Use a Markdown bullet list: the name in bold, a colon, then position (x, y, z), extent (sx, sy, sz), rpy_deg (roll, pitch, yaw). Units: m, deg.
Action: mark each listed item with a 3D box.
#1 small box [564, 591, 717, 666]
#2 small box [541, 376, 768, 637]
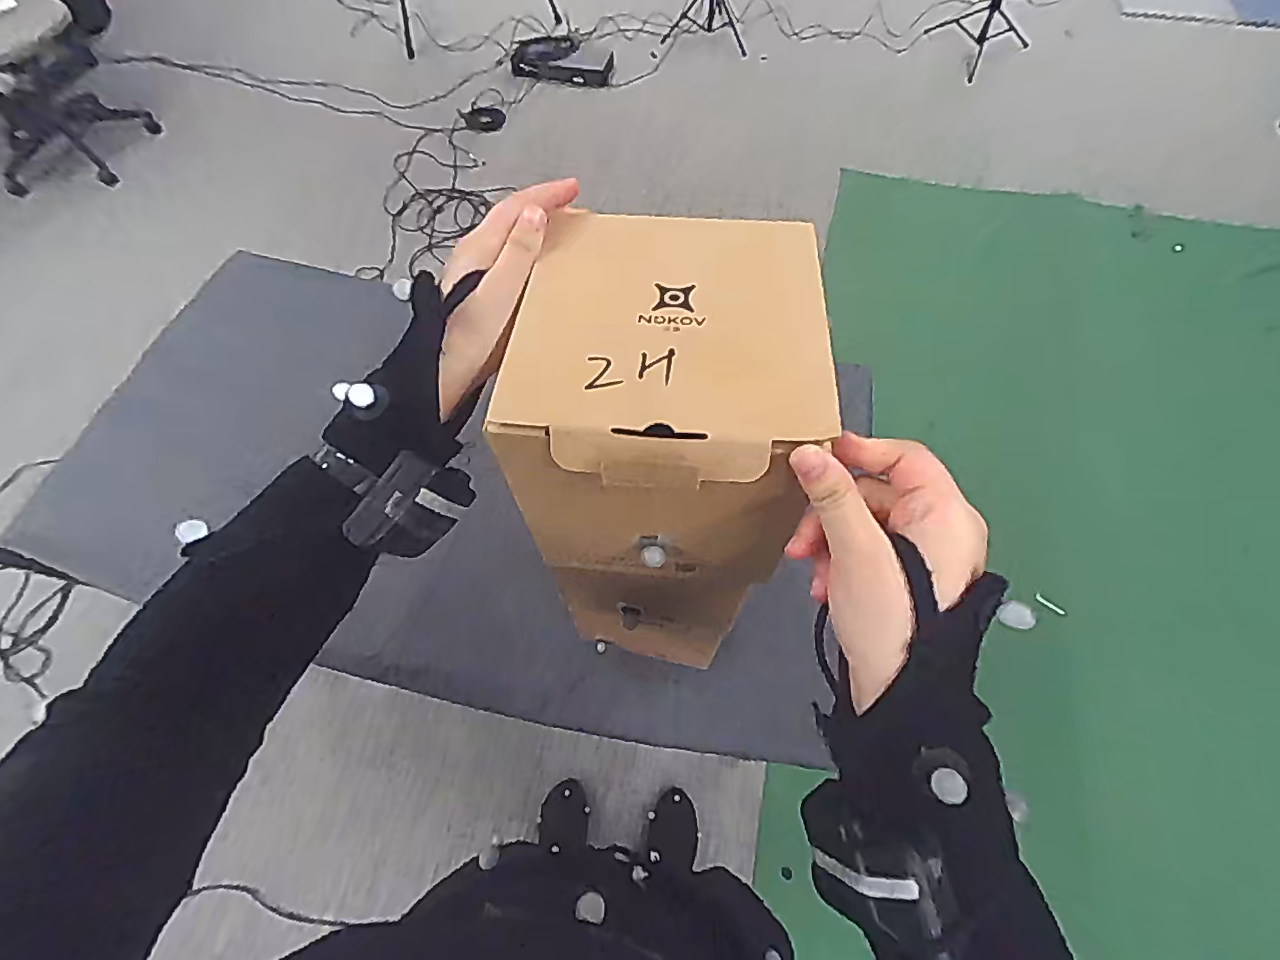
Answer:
- **small box**: position (0.022, 0.108, 0.650), extent (0.168, 0.176, 0.179), rpy_deg (11, 60, 7)
- **small box**: position (0.019, 0.030, 0.507), extent (0.168, 0.176, 0.179), rpy_deg (7, 61, 6)
